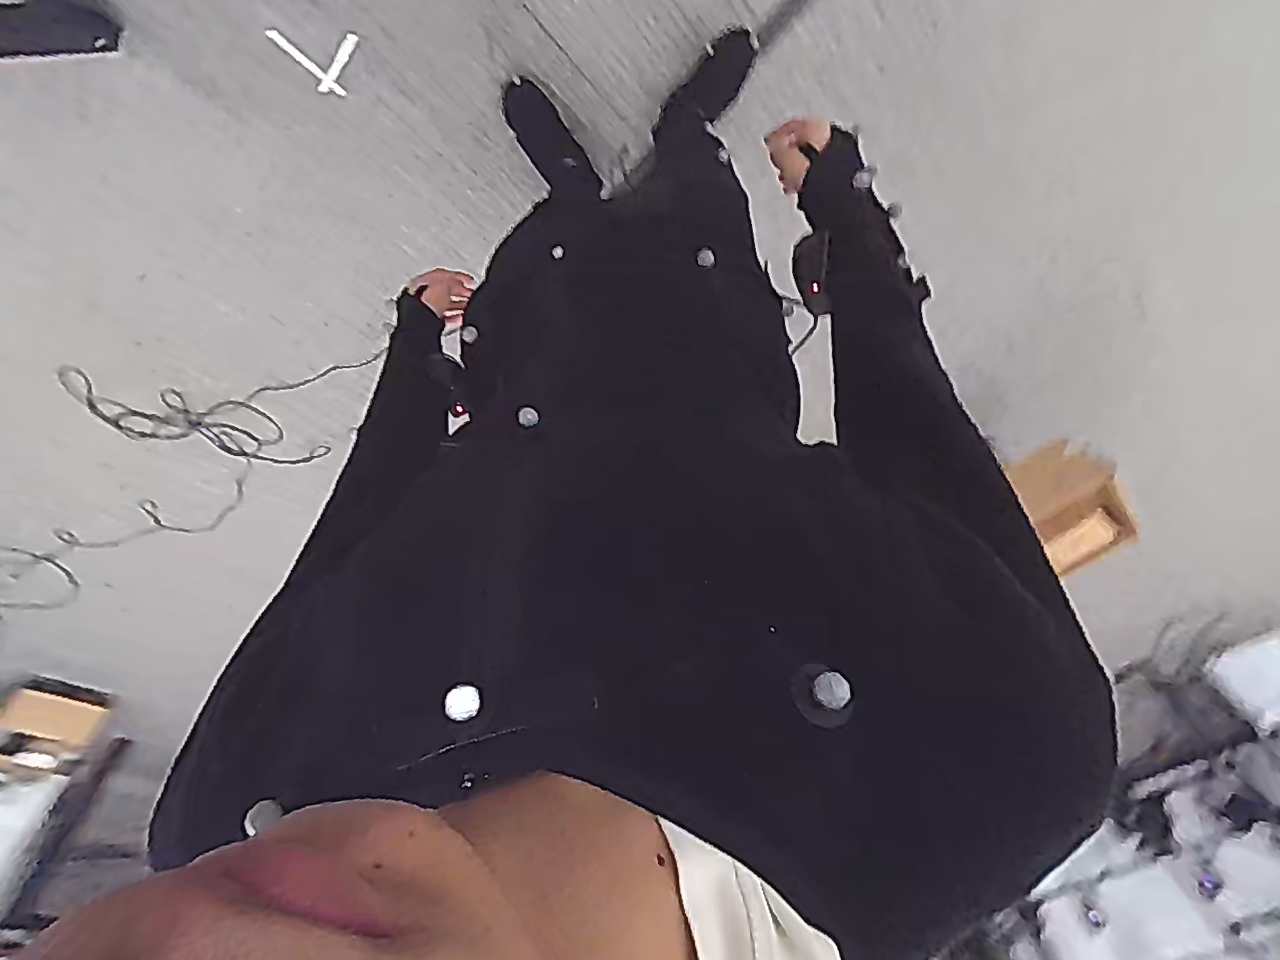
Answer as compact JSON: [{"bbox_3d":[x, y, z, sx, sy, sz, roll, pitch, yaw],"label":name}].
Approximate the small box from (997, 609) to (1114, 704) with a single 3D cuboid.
[{"bbox_3d":[1.128,0.479,1.476,0.179,0.176,0.168,33,117,-30],"label":"small box"}]
